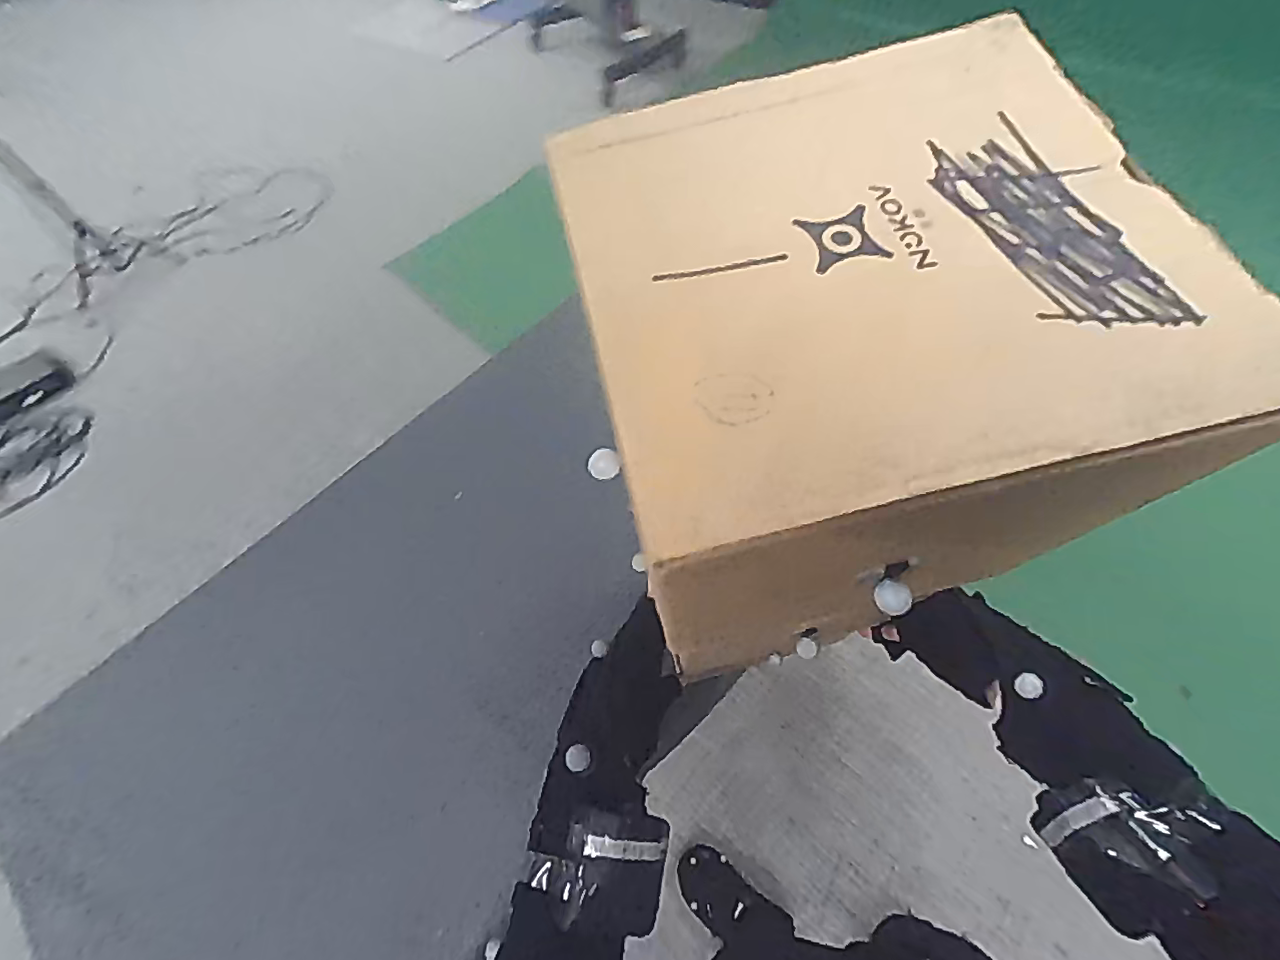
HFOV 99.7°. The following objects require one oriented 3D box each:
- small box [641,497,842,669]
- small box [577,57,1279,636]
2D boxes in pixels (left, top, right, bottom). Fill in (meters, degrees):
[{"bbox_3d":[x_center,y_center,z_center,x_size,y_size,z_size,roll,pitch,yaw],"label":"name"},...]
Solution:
[{"bbox_3d":[0.108,0.085,0.550,0.179,0.176,0.168,-14,66,-3],"label":"small box"},{"bbox_3d":[0.081,-0.037,0.245,0.179,0.176,0.168,-13,65,0],"label":"small box"}]
